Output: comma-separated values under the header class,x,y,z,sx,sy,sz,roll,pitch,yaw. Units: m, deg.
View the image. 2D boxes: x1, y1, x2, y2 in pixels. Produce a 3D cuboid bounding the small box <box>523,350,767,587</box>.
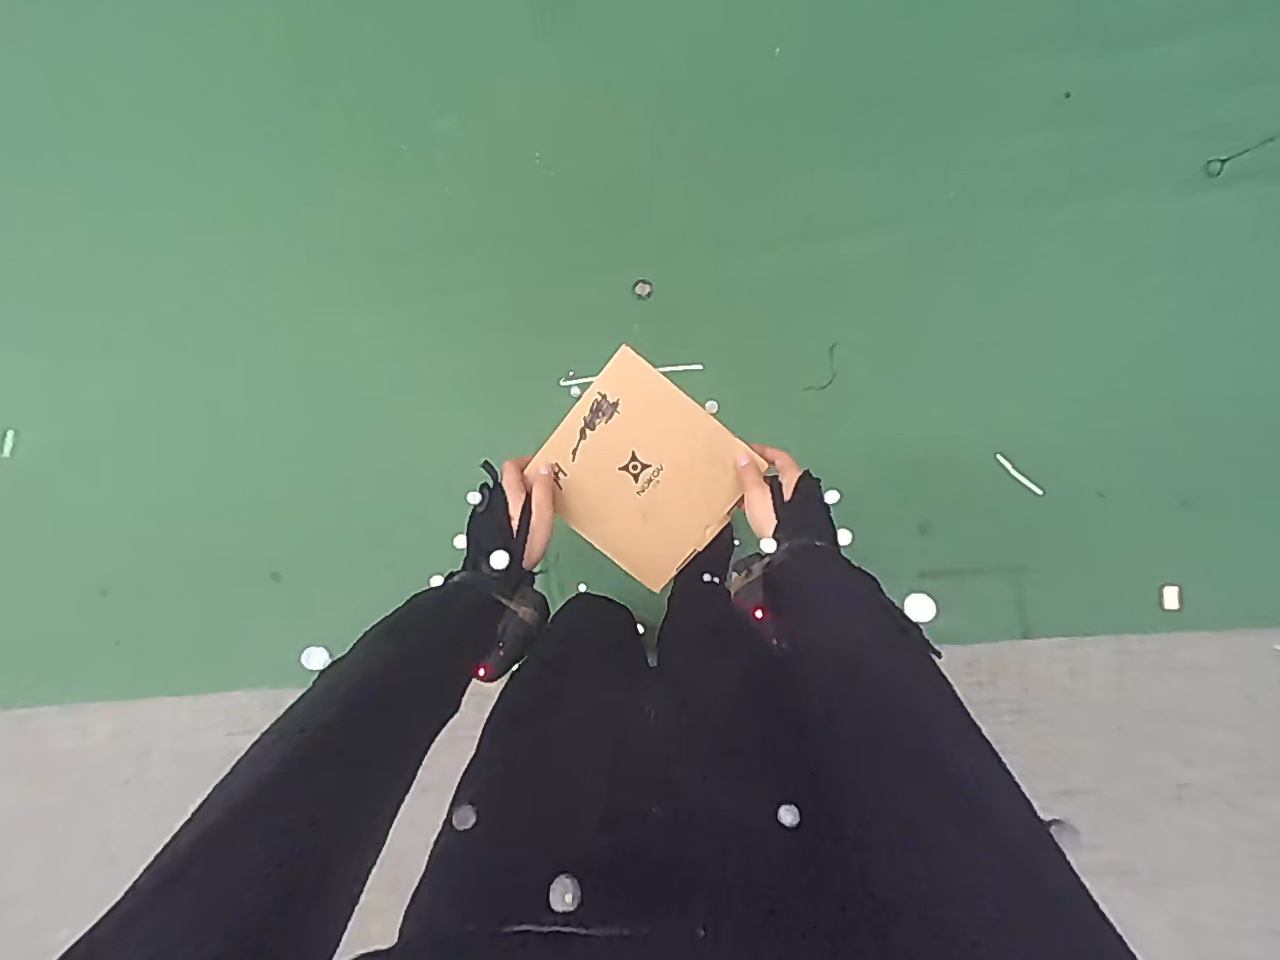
class,x,y,z,sx,sy,sz,roll,pitch,yaw
small box,0.007,-0.022,0.588,0.179,0.176,0.168,39,99,-5
